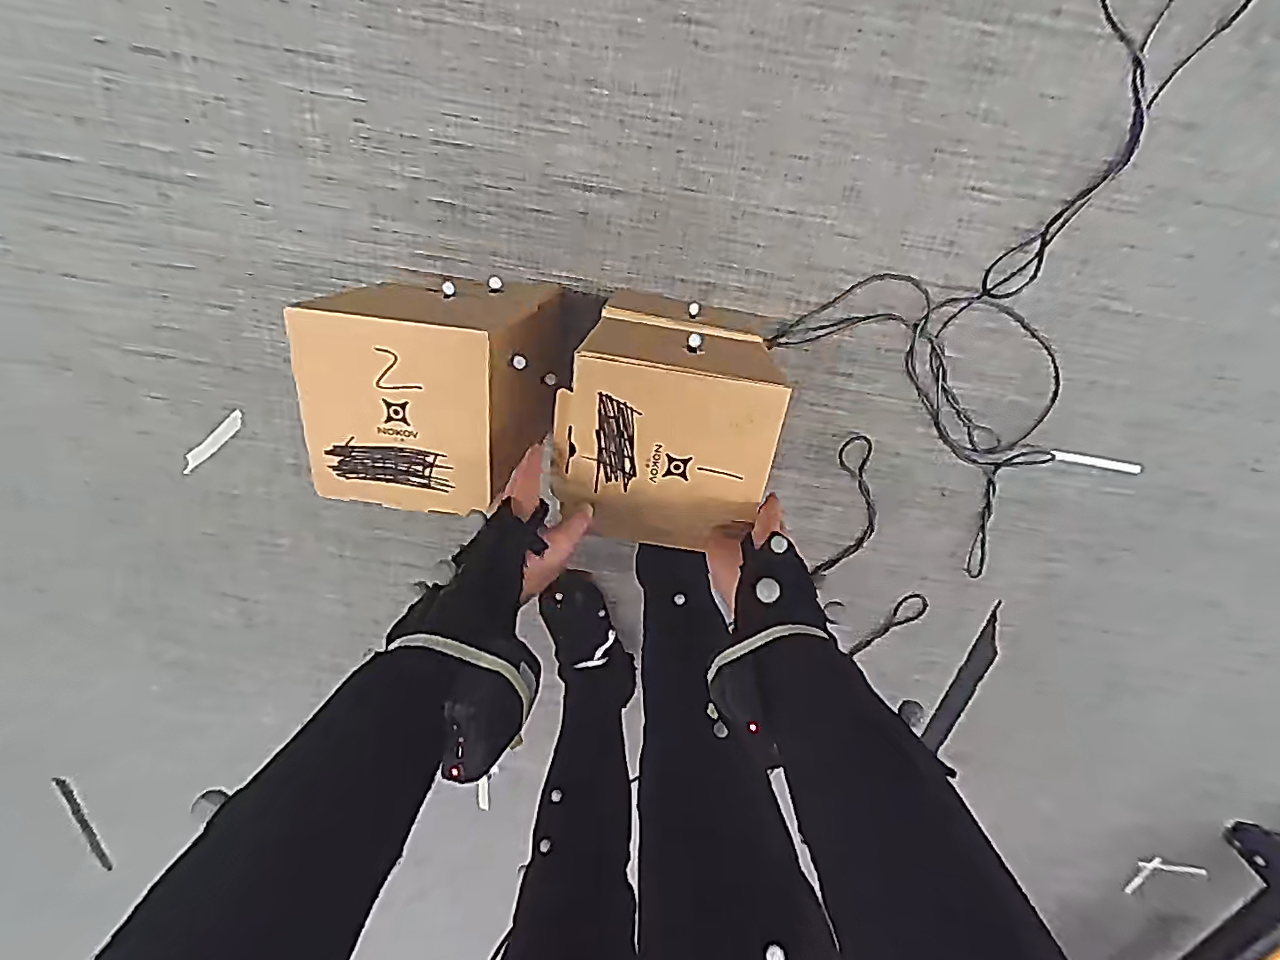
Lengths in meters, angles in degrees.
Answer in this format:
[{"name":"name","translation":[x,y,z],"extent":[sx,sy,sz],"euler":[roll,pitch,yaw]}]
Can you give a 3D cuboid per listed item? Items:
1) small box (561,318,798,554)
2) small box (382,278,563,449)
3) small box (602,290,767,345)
[{"name":"small box","translation":[0.031,-0.053,0.524],"extent":[0.179,0.176,0.168],"euler":[9,116,-1]},{"name":"small box","translation":[-0.192,-0.154,0.678],"extent":[0.168,0.176,0.179],"euler":[3,116,2]},{"name":"small box","translation":[0.040,-0.131,0.668],"extent":[0.179,0.176,0.168],"euler":[11,116,-1]}]
